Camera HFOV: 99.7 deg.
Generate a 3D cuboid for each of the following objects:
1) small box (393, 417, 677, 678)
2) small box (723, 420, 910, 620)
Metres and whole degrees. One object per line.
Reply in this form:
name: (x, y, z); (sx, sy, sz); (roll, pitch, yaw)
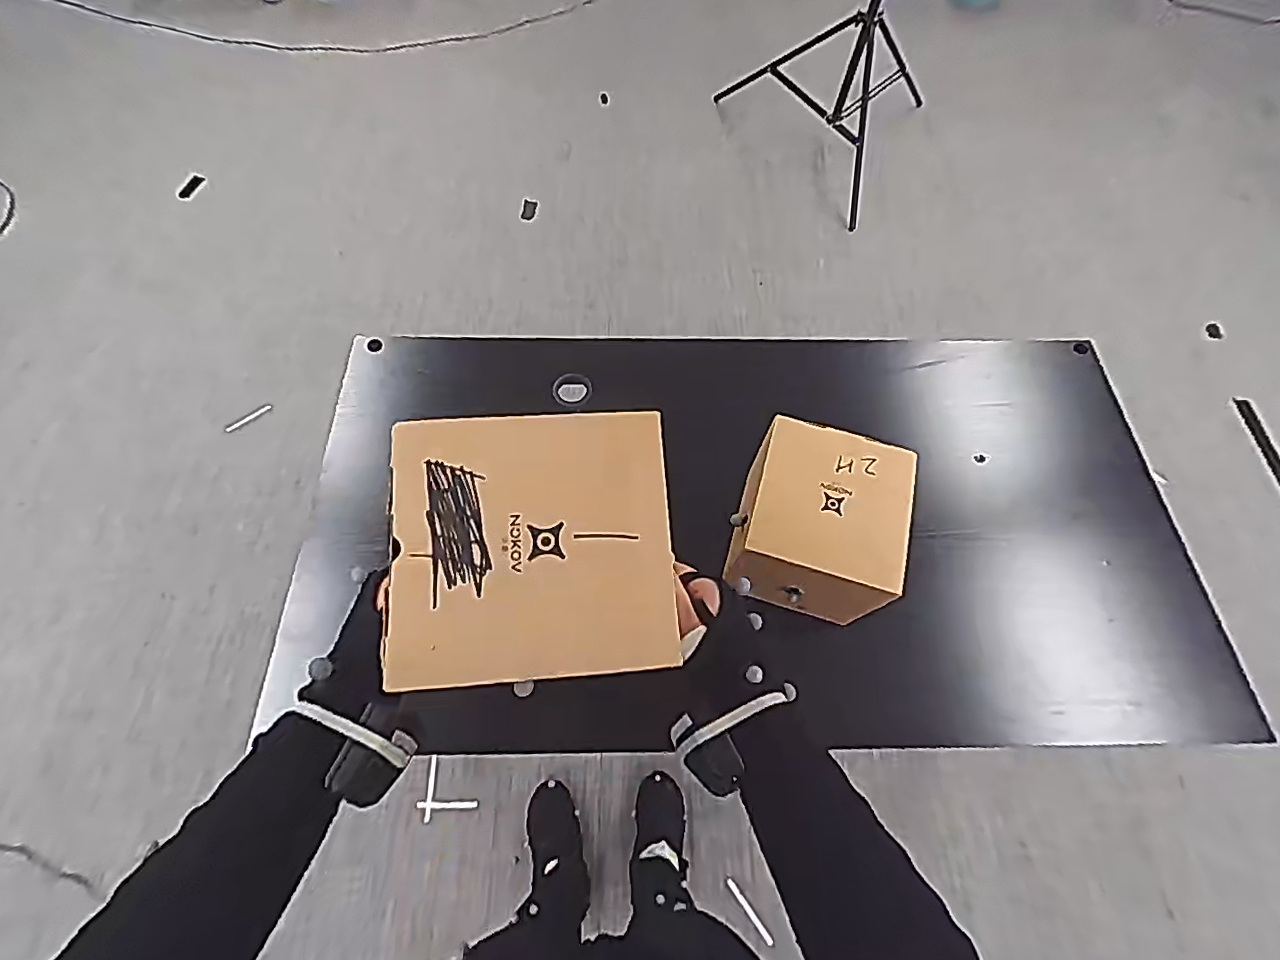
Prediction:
small box: (-0.073, 0.059, 0.427); (0.179, 0.176, 0.168); (-3, 76, -6)
small box: (0.208, 0.059, 0.672); (0.168, 0.176, 0.179); (17, 65, 6)
